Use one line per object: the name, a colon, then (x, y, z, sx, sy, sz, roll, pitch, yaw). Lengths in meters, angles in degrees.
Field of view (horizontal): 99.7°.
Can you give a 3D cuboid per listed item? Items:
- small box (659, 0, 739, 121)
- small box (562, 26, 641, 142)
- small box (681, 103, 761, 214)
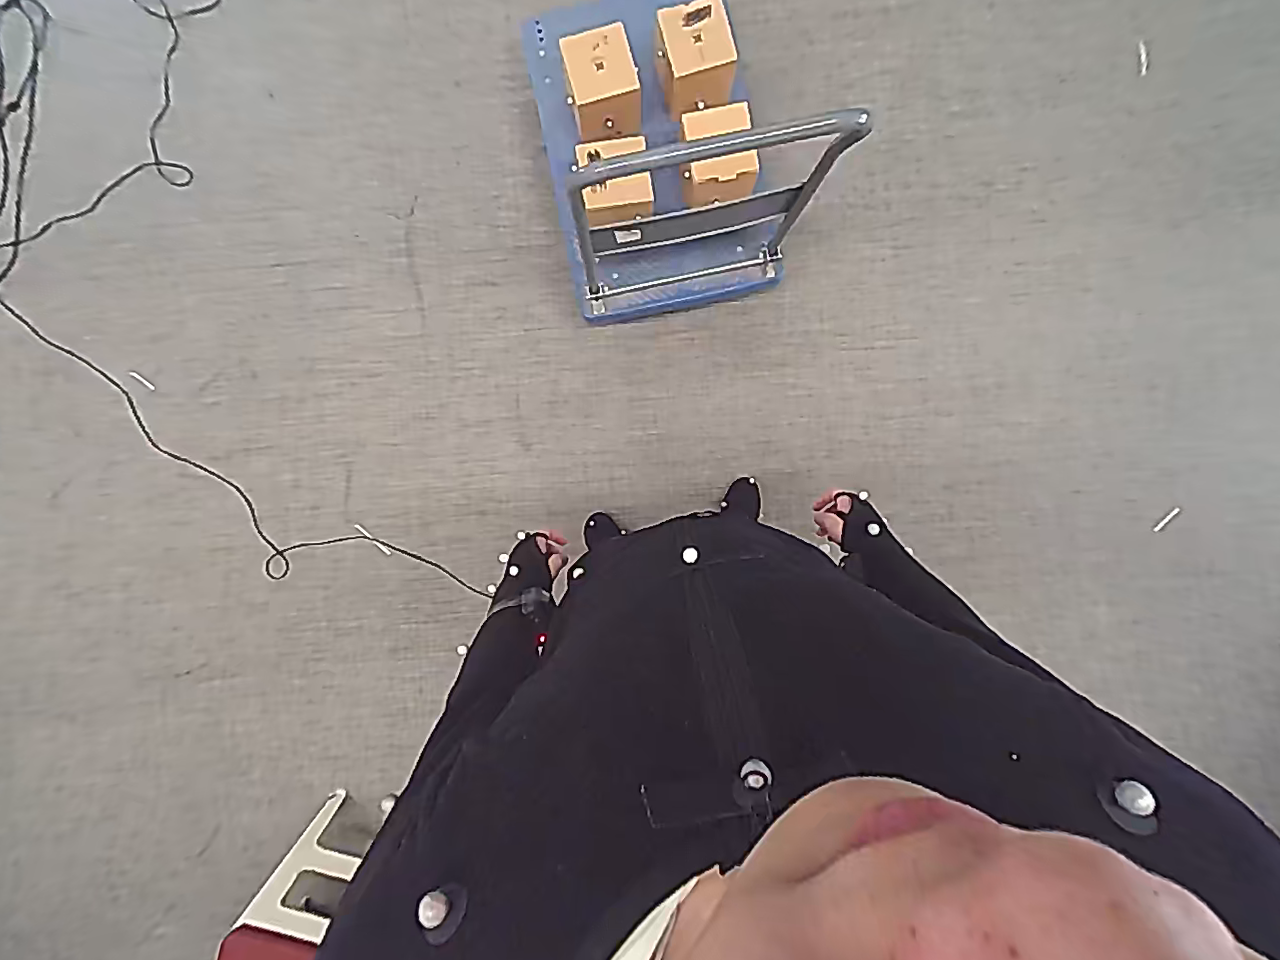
small box: (0.148, -1.101, 1.426, 0.168, 0.176, 0.179, -15, 90, 2)
small box: (-0.094, -1.032, 1.429, 0.168, 0.176, 0.179, -16, 89, 0)
small box: (0.205, -0.836, 1.421, 0.168, 0.176, 0.179, -11, 89, 1)
